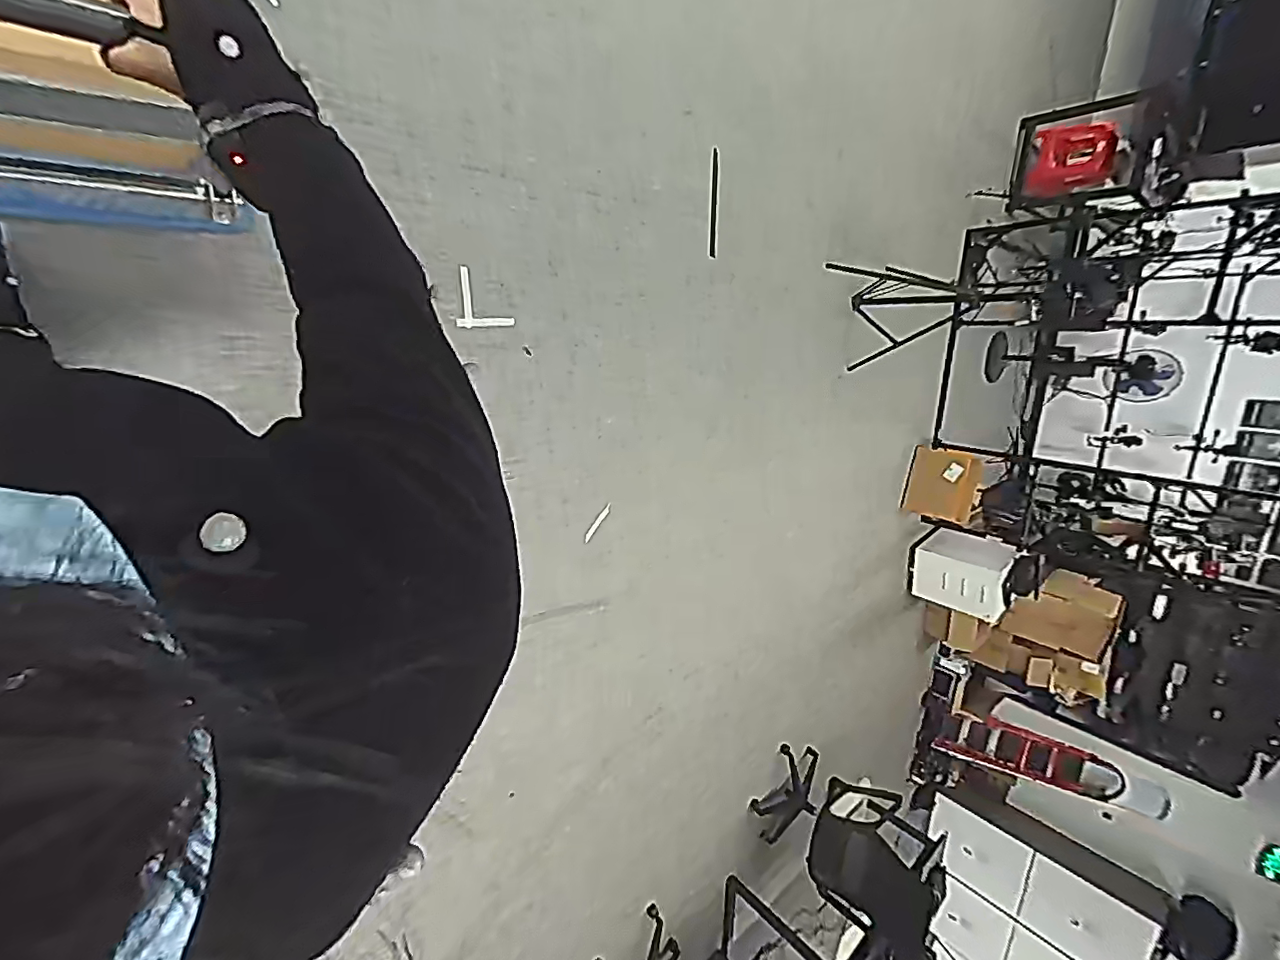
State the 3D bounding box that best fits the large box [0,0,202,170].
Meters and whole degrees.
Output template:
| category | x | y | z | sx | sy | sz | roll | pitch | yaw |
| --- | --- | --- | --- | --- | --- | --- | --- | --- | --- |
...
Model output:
| category | x | y | z | sx | sy | sz | roll | pitch | yaw |
| --- | --- | --- | --- | --- | --- | --- | --- | --- | --- |
| large box | -0.827 | -0.605 | 0.650 | 0.408 | 0.320 | 0.320 | -14 | 112 | -41 |
